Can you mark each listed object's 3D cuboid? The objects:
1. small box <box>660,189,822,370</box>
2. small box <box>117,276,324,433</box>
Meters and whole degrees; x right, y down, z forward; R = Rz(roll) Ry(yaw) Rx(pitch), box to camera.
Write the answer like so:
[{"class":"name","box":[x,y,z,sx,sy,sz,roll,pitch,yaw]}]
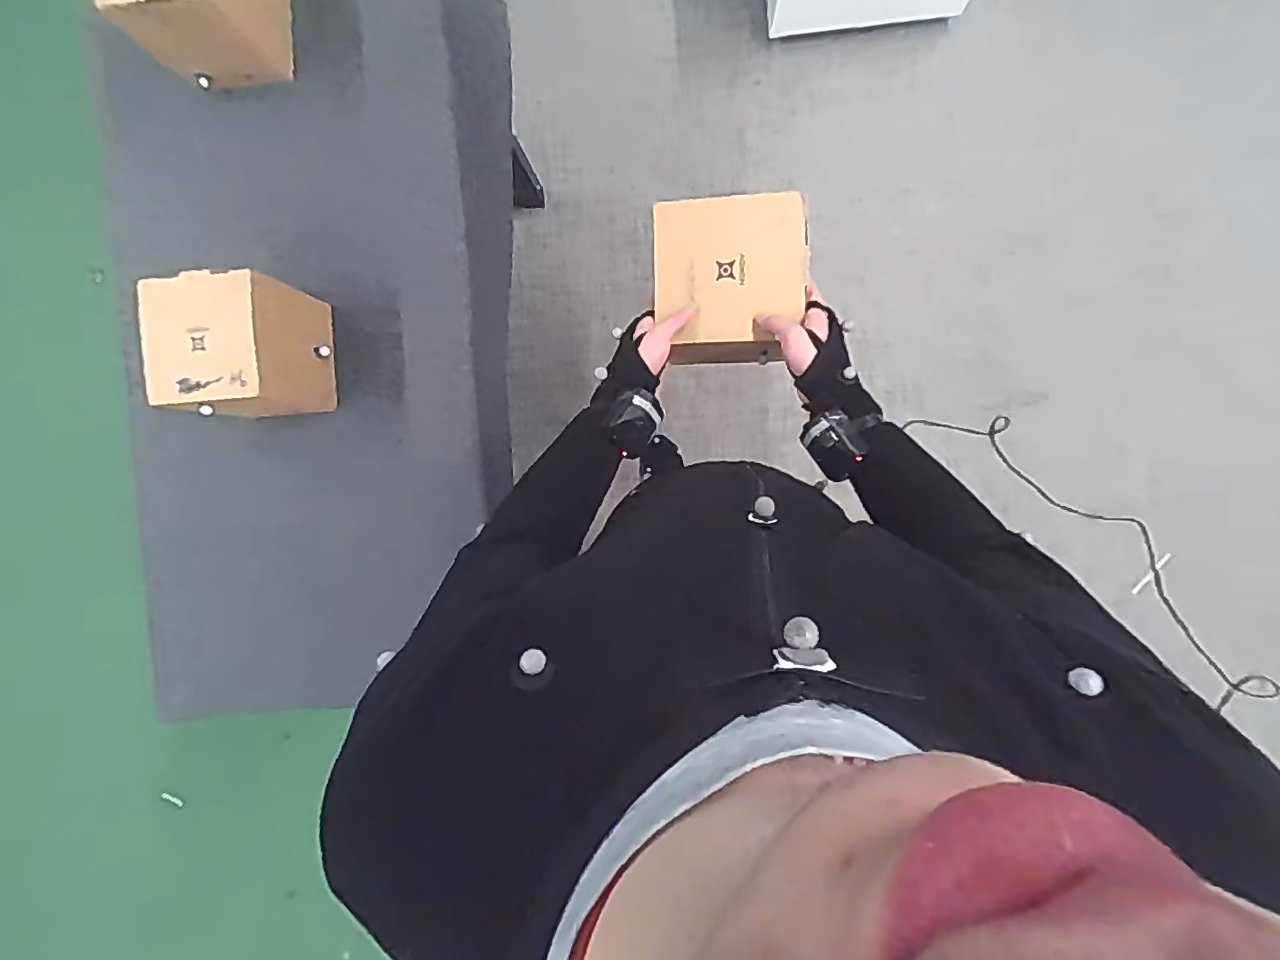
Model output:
[{"class":"small box","box":[0.120,-0.236,0.677,0.179,0.176,0.168,-2,92,8]},{"class":"small box","box":[-0.582,-0.168,0.770,0.168,0.176,0.179,-5,89,3]}]
